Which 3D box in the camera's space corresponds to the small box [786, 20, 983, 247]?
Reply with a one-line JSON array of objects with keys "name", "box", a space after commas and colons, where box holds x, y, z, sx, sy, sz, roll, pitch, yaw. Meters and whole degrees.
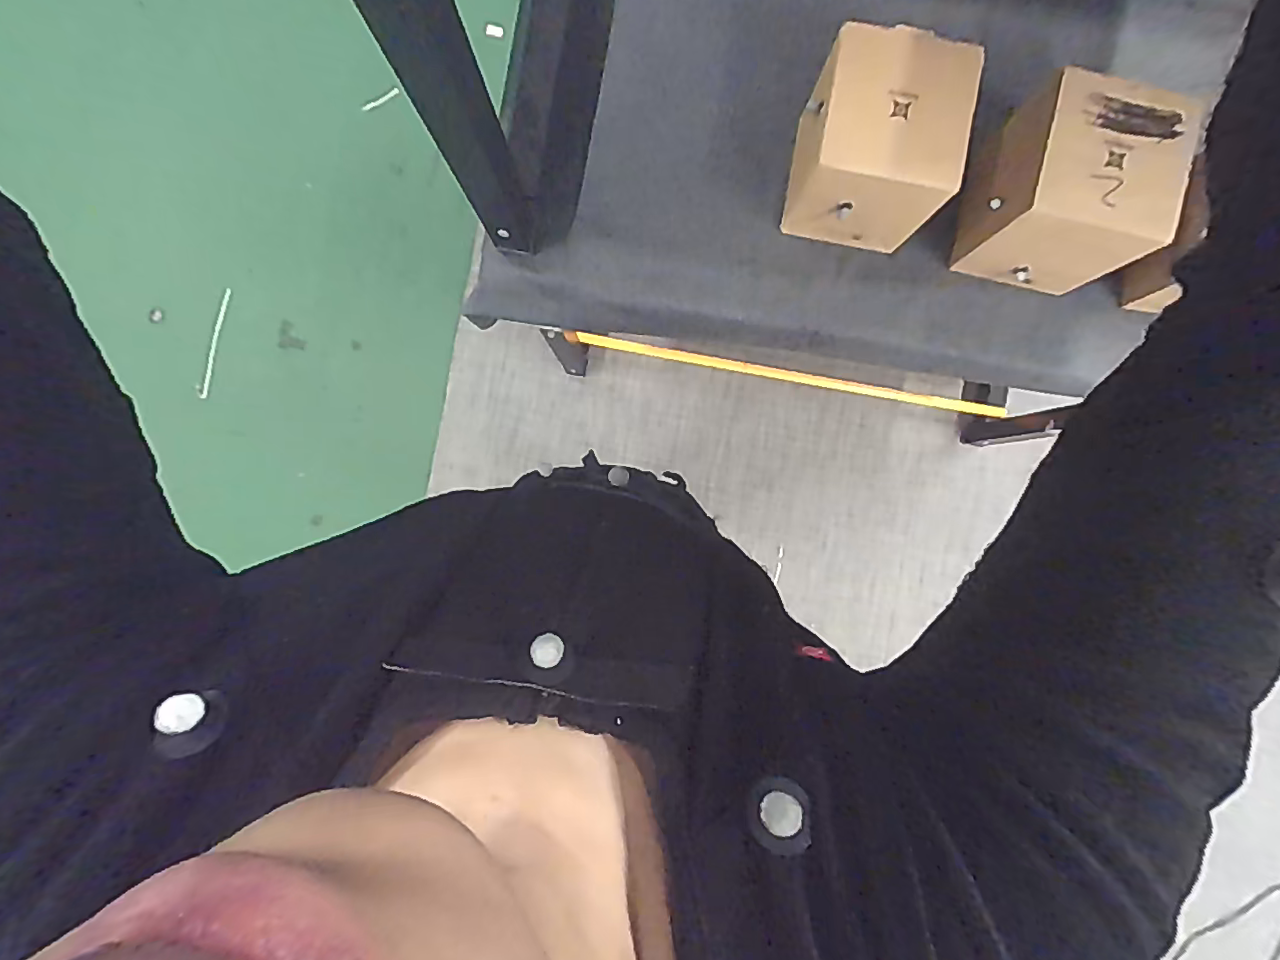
[{"name": "small box", "box": [0.299, -0.429, 0.700, 0.168, 0.176, 0.179, 11, 88, 0]}]

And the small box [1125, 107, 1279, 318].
[{"name": "small box", "box": [0.781, -0.326, 0.695, 0.168, 0.176, 0.179, 10, 88, 0]}]
